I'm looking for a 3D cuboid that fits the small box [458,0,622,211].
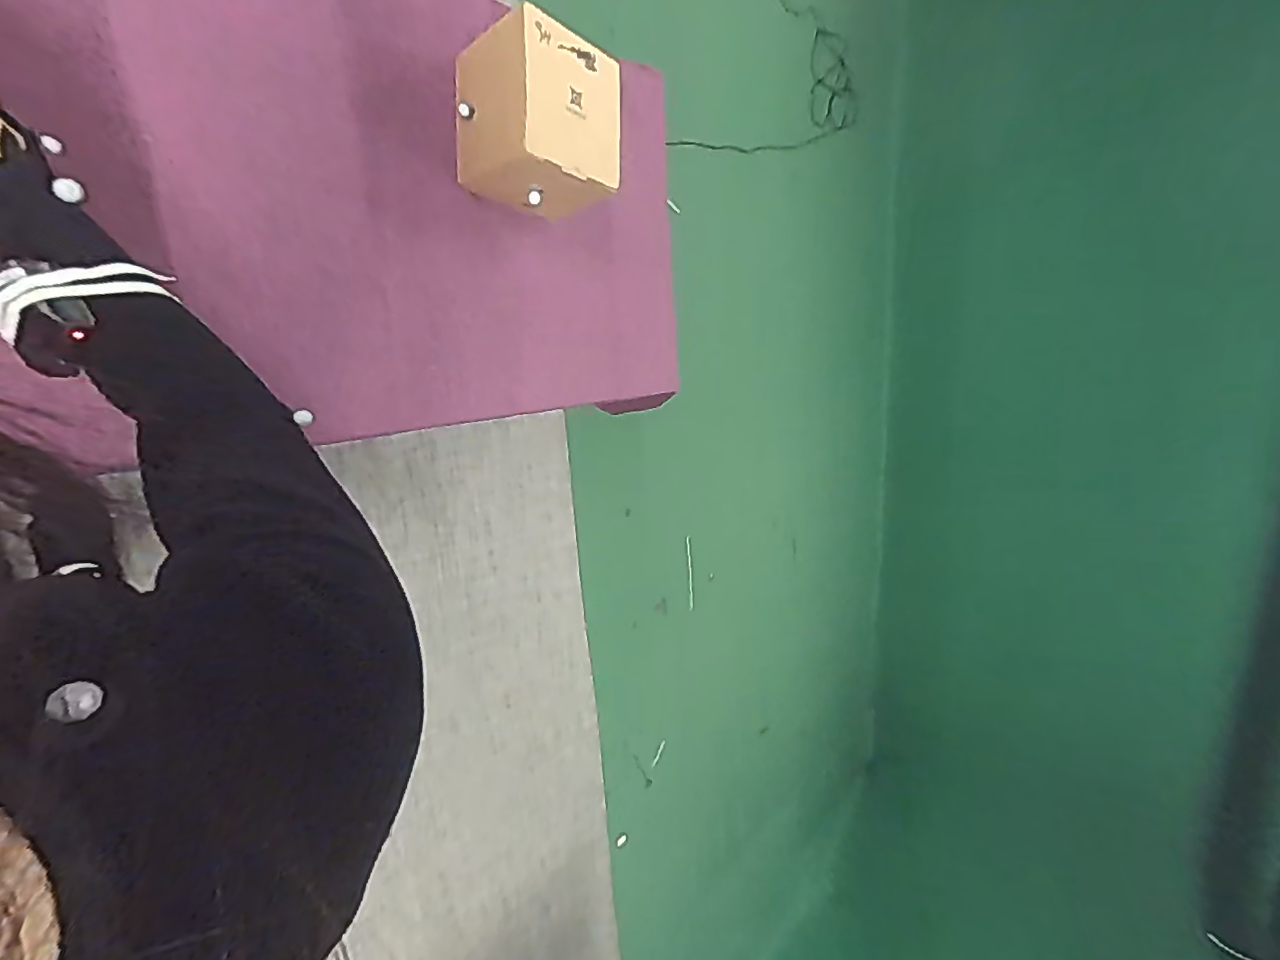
[{"bbox_3d":[-0.144,-0.507,0.770,0.168,0.176,0.179,-7,101,-47],"label":"small box"}]
